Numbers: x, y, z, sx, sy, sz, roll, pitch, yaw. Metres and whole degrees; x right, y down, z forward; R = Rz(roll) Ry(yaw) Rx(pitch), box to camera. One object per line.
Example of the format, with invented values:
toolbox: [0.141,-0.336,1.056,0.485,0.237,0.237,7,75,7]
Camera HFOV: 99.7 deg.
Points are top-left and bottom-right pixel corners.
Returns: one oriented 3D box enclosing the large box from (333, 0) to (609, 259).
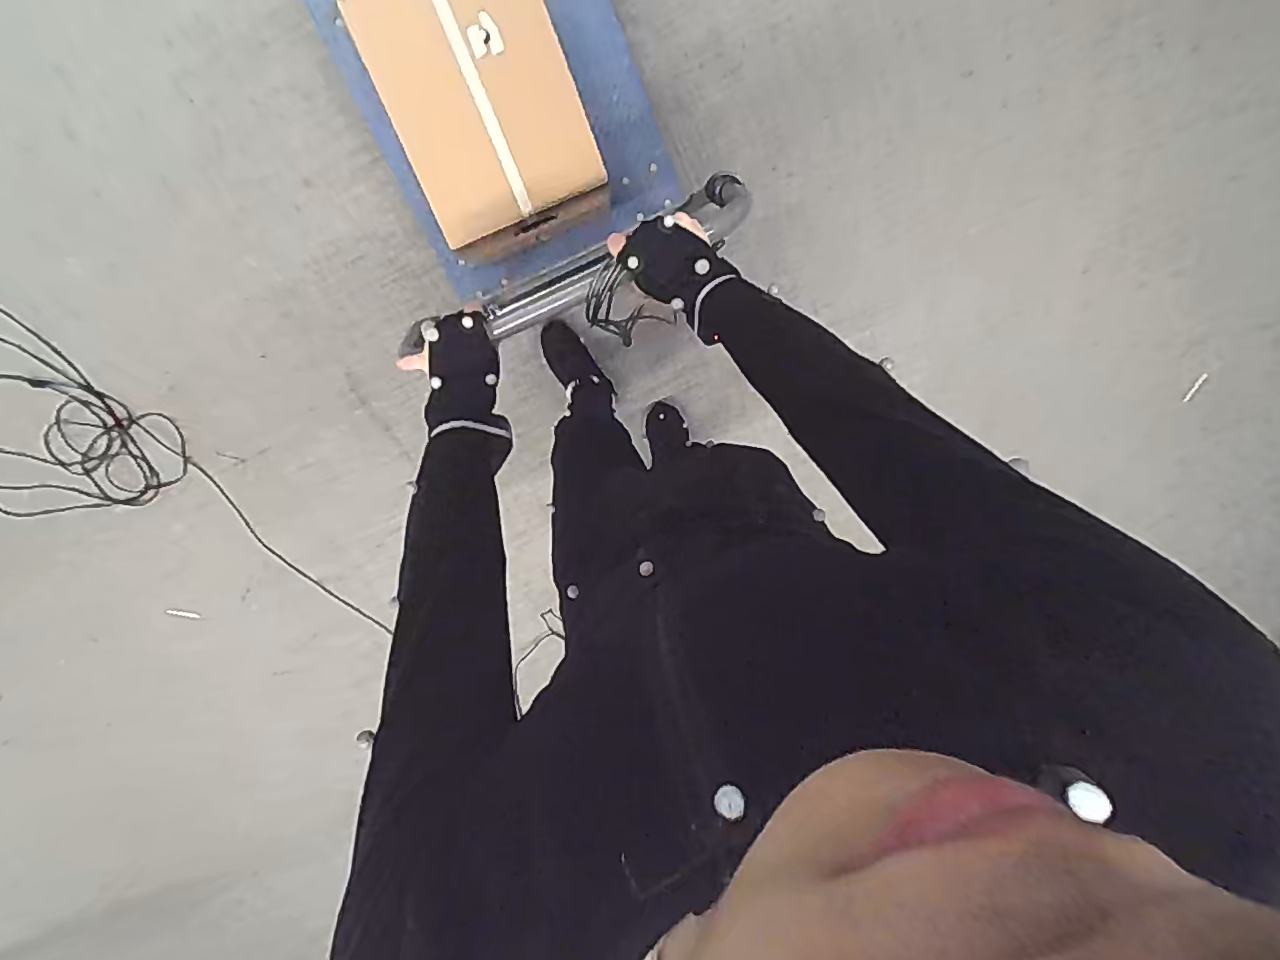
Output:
large box: [-0.276,-0.690,1.035,0.320,0.320,0.408,-21,107,4]
